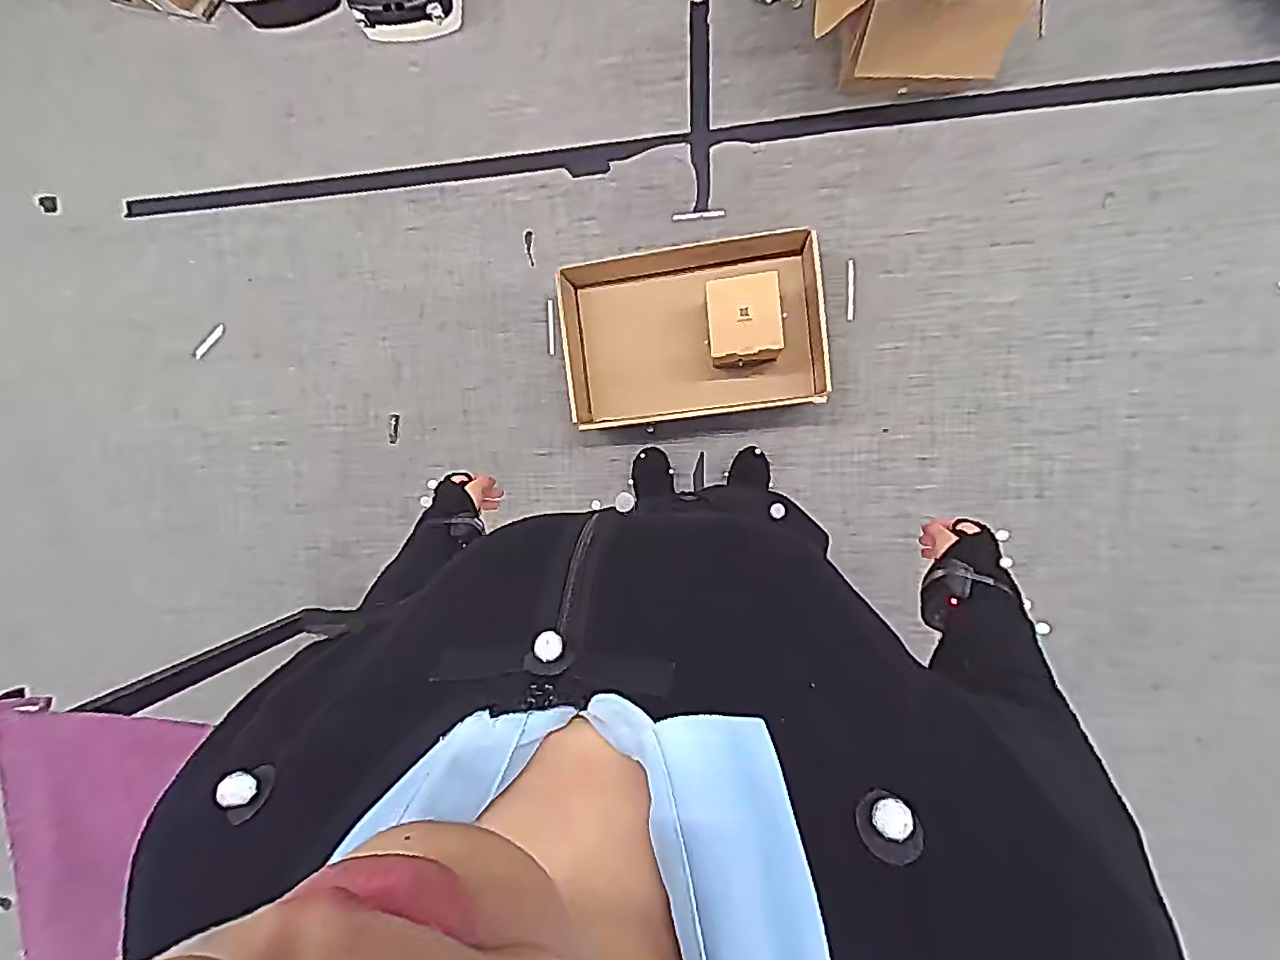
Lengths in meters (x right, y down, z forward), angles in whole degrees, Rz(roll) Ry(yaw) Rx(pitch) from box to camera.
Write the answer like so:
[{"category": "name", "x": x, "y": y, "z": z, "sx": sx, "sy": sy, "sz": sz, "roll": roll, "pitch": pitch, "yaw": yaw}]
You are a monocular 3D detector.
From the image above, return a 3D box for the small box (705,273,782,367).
[{"category": "small box", "x": 0.246, "y": -0.380, "z": 1.310, "sx": 0.168, "sy": 0.176, "sz": 0.179, "roll": -6, "pitch": 94, "yaw": 9}]
